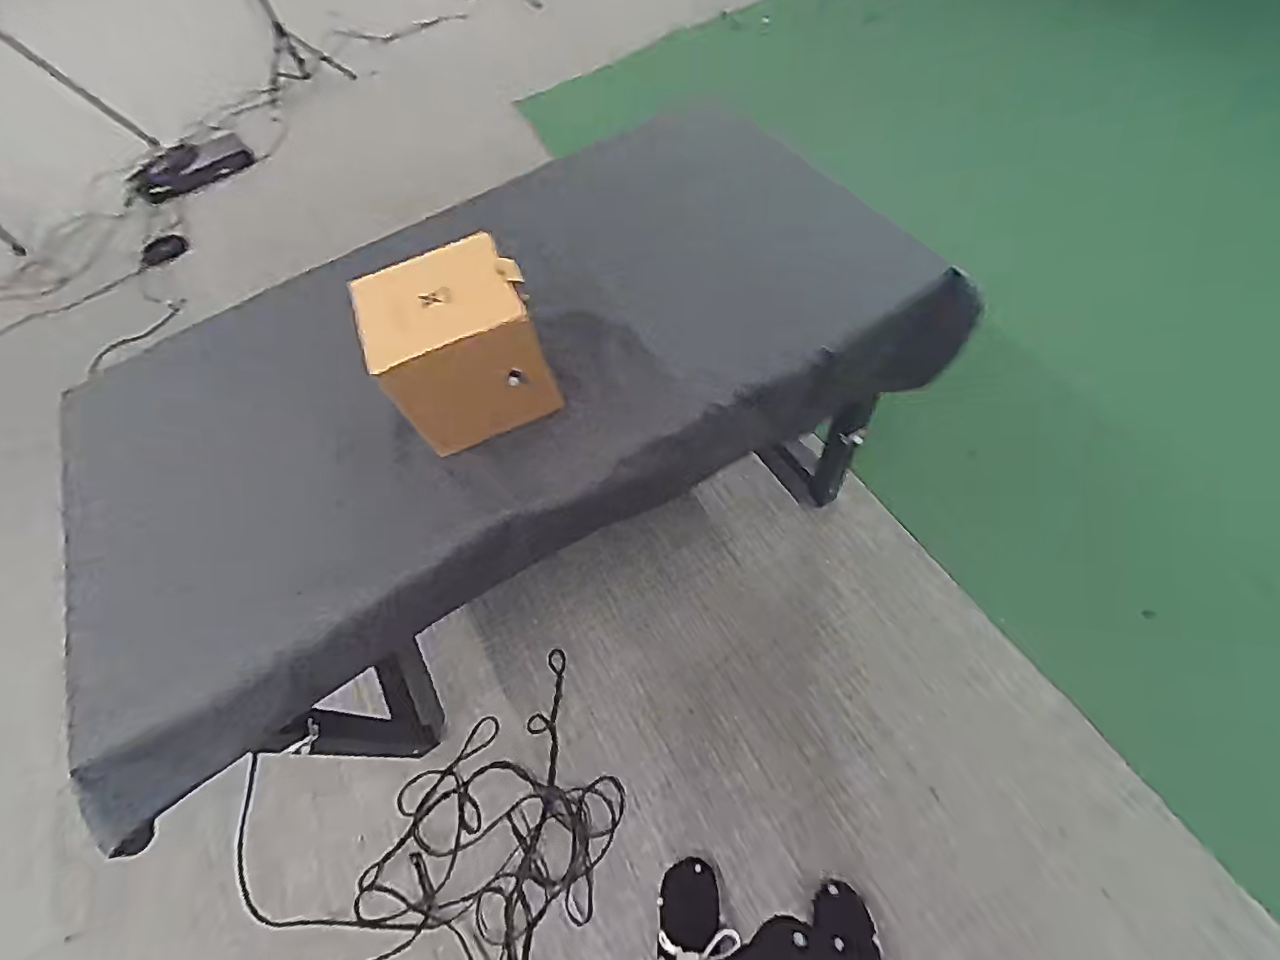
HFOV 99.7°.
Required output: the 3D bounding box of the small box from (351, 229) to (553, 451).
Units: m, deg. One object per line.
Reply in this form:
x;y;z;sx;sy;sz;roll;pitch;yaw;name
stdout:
-0.221;-0.167;0.675;0.179;0.176;0.168;-25;60;-5;small box
